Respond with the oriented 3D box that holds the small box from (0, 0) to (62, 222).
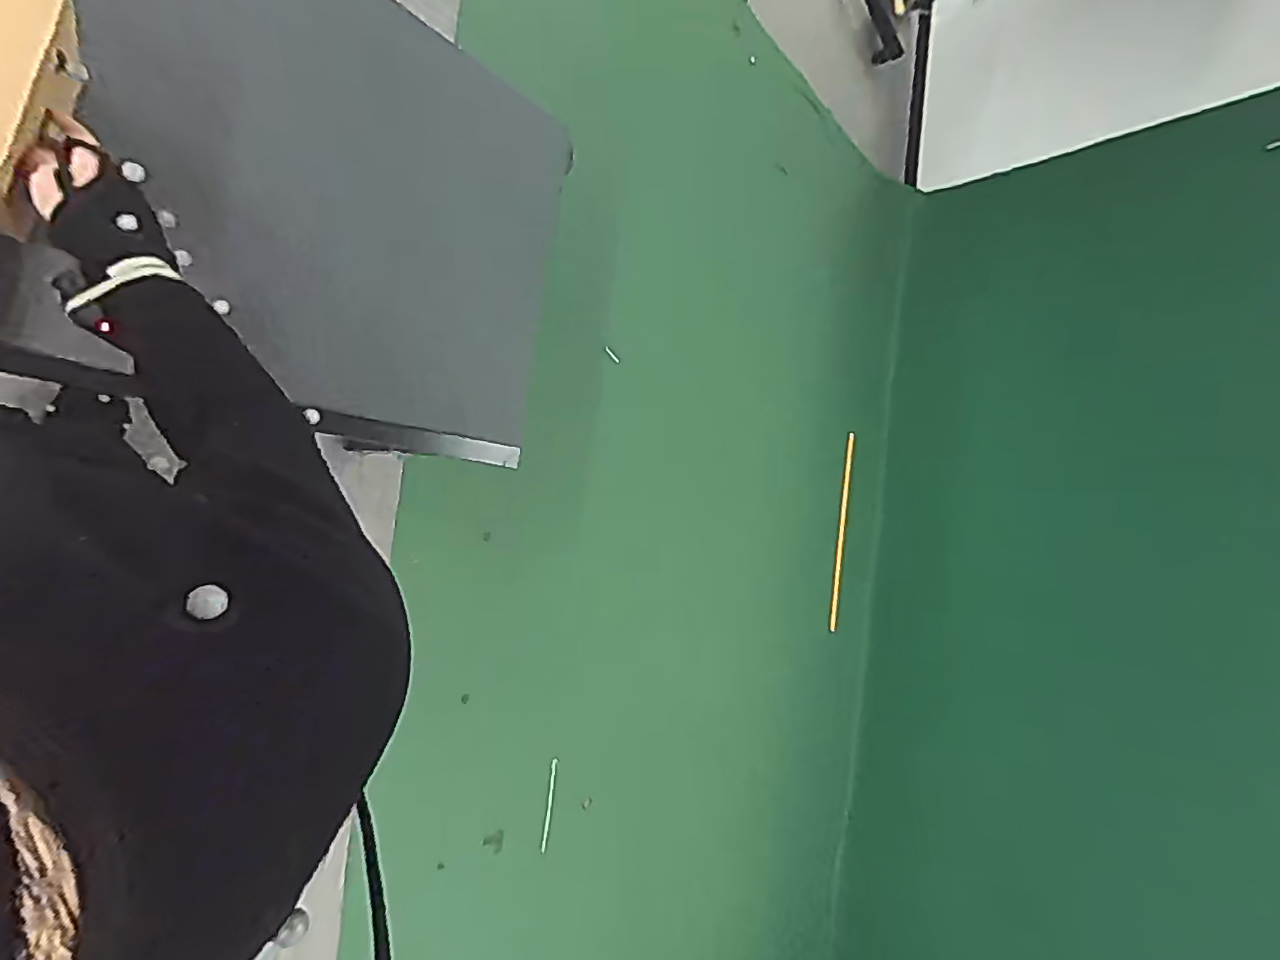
[{"bbox_3d":[-0.569,-0.330,0.398,0.168,0.176,0.179,19,79,-44],"label":"small box"}]
